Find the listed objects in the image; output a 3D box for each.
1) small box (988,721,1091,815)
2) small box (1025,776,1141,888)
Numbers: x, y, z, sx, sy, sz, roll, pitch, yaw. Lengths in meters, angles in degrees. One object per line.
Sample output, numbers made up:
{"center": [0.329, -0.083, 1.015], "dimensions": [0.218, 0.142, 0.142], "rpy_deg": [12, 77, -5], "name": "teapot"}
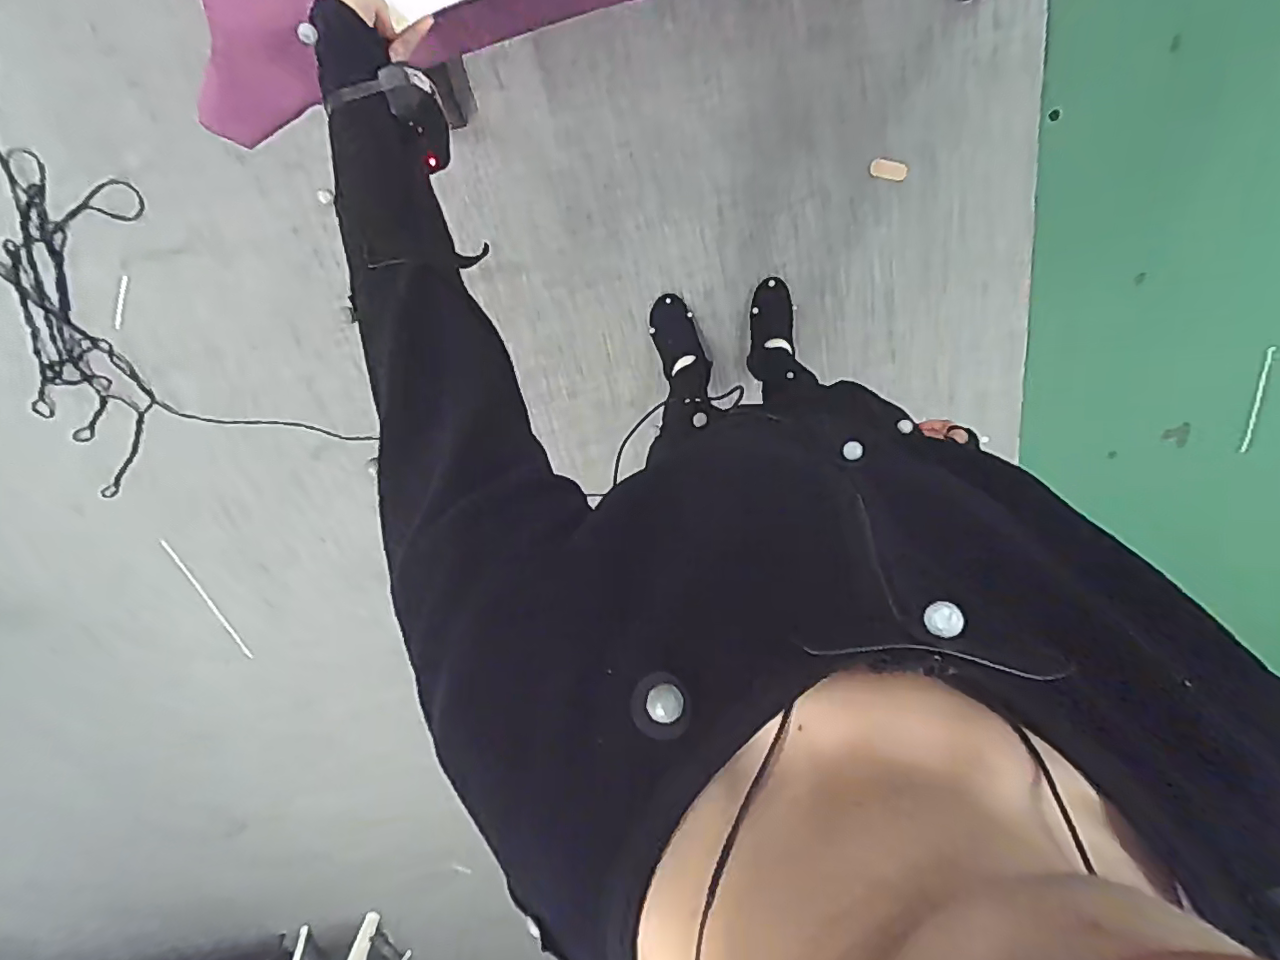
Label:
{"center": [1.141, 0.824, 1.544], "dimensions": [0.179, 0.176, 0.168], "rpy_deg": [-23, 112, 9], "name": "small box"}
{"center": [1.136, 0.899, 1.398], "dimensions": [0.168, 0.176, 0.179], "rpy_deg": [-21, 112, 8], "name": "small box"}
